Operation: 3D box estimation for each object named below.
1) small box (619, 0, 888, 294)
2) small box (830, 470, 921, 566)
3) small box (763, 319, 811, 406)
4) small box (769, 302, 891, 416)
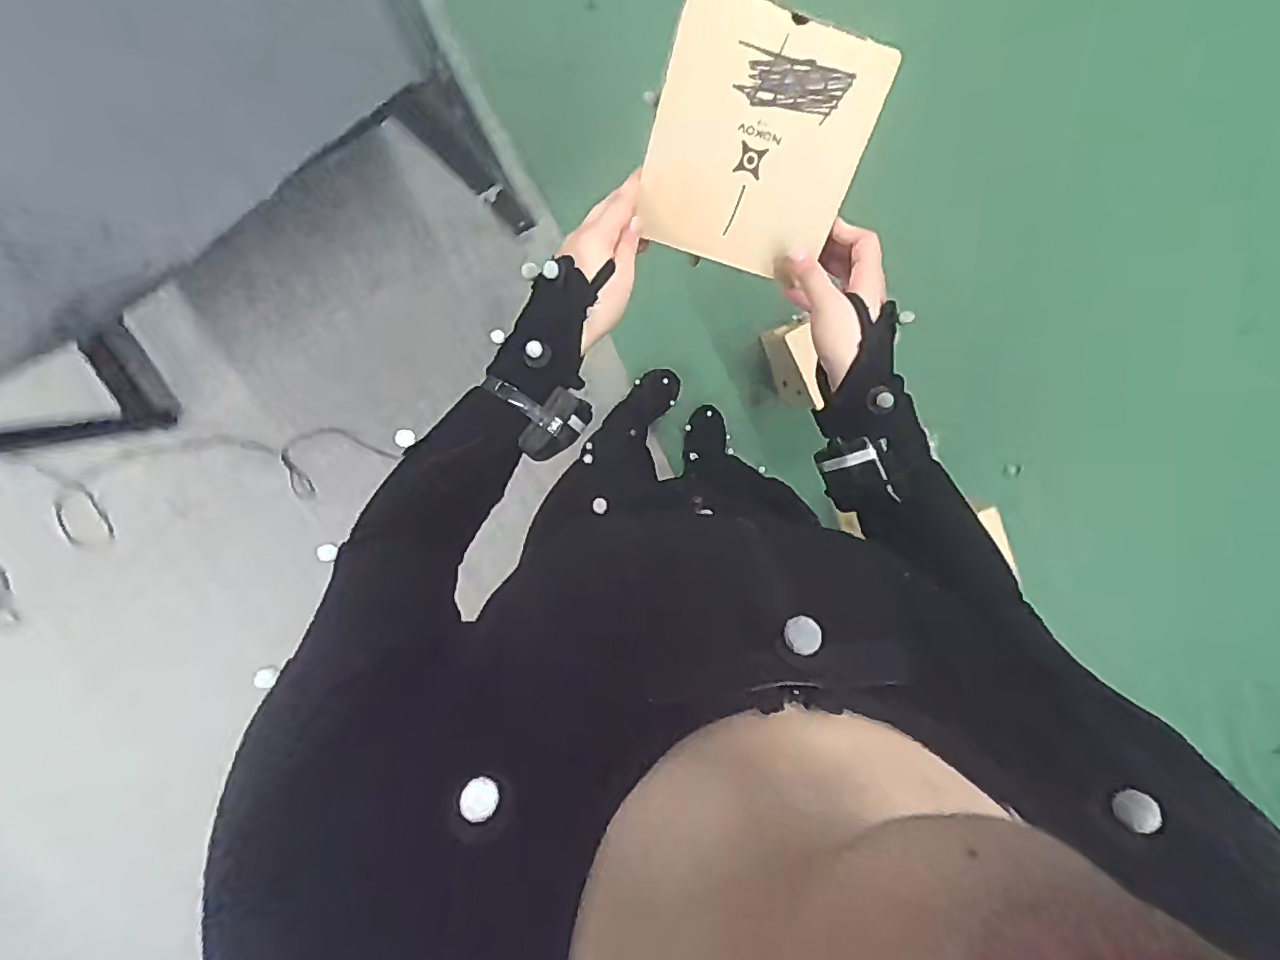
[{"bbox_3d":[0.079,-0.289,0.487,0.168,0.176,0.179,13,117,-8],"label":"small box"},{"bbox_3d":[0.613,0.092,1.395,0.168,0.176,0.179,-21,100,6],"label":"small box"},{"bbox_3d":[0.412,-0.294,1.315,0.168,0.176,0.179,-19,101,5],"label":"small box"},{"bbox_3d":[0.398,-0.256,1.157,0.168,0.176,0.179,-27,99,6],"label":"small box"}]
